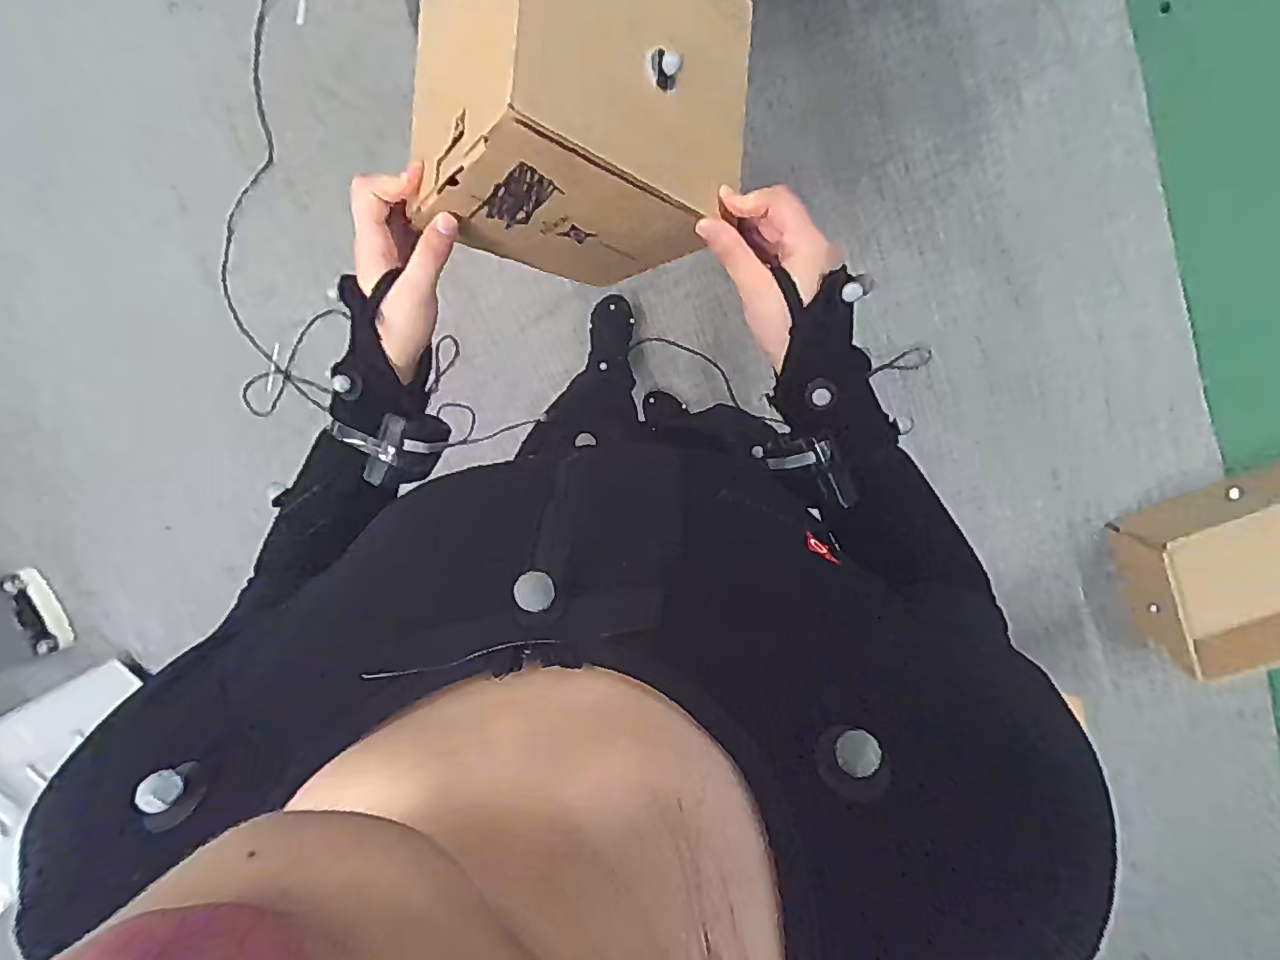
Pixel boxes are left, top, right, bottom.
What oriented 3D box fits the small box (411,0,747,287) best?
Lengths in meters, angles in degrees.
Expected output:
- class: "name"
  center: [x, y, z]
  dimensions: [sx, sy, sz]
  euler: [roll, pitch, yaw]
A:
- class: "small box"
  center: [-0.043, -0.262, 0.383]
  dimensions: [0.168, 0.179, 0.176]
  euler: [4, 90, 50]
